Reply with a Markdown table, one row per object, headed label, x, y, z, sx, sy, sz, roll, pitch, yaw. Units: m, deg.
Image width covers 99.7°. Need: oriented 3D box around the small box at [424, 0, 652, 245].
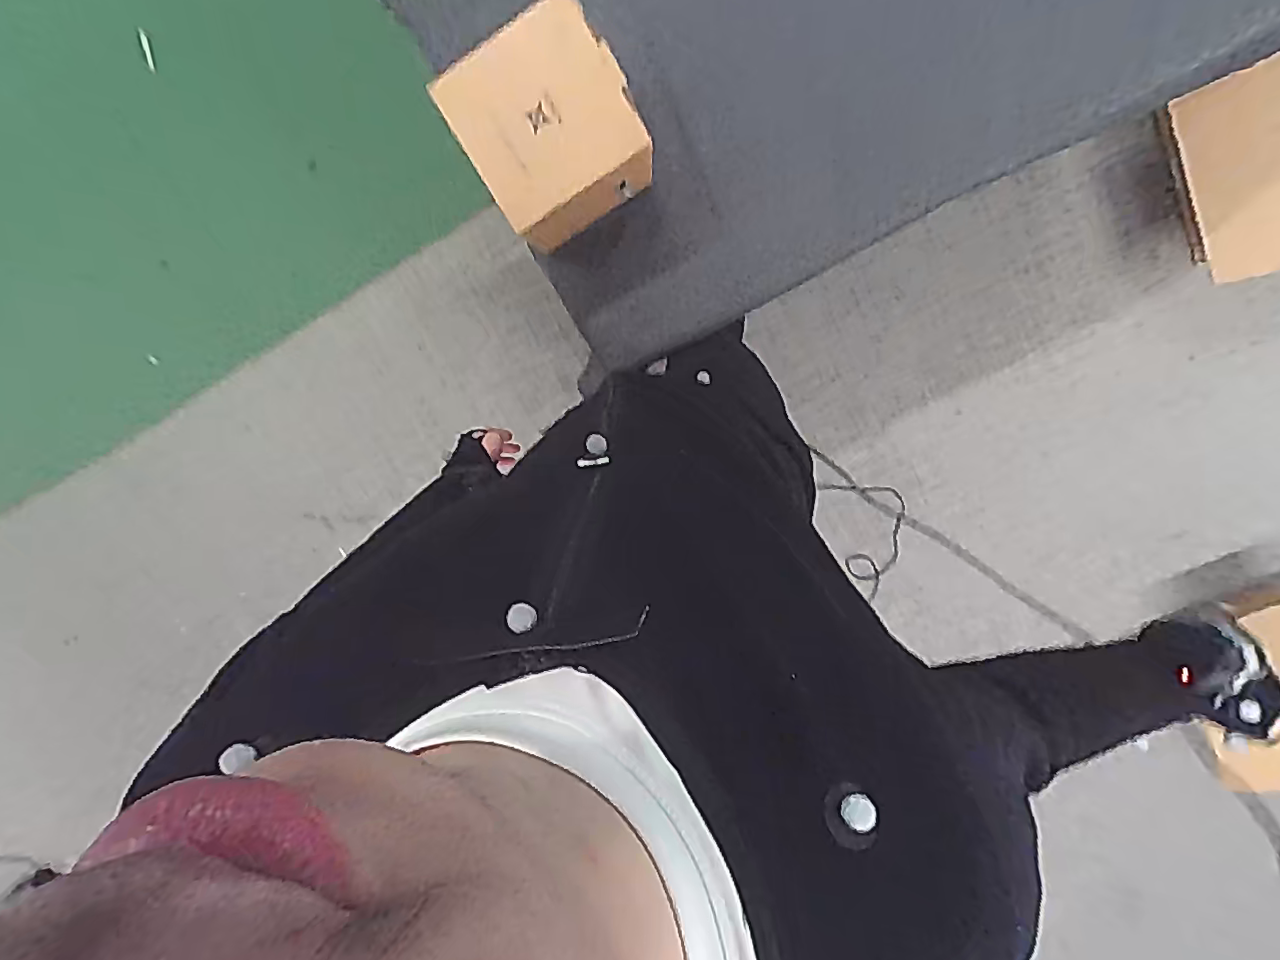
| label | x | y | z | sx | sy | sz | roll | pitch | yaw |
| --- | --- | --- | --- | --- | --- | --- | --- | --- | --- |
| small box | -0.102 | -0.397 | 0.619 | 0.179 | 0.176 | 0.168 | -31 | 103 | 10 |
